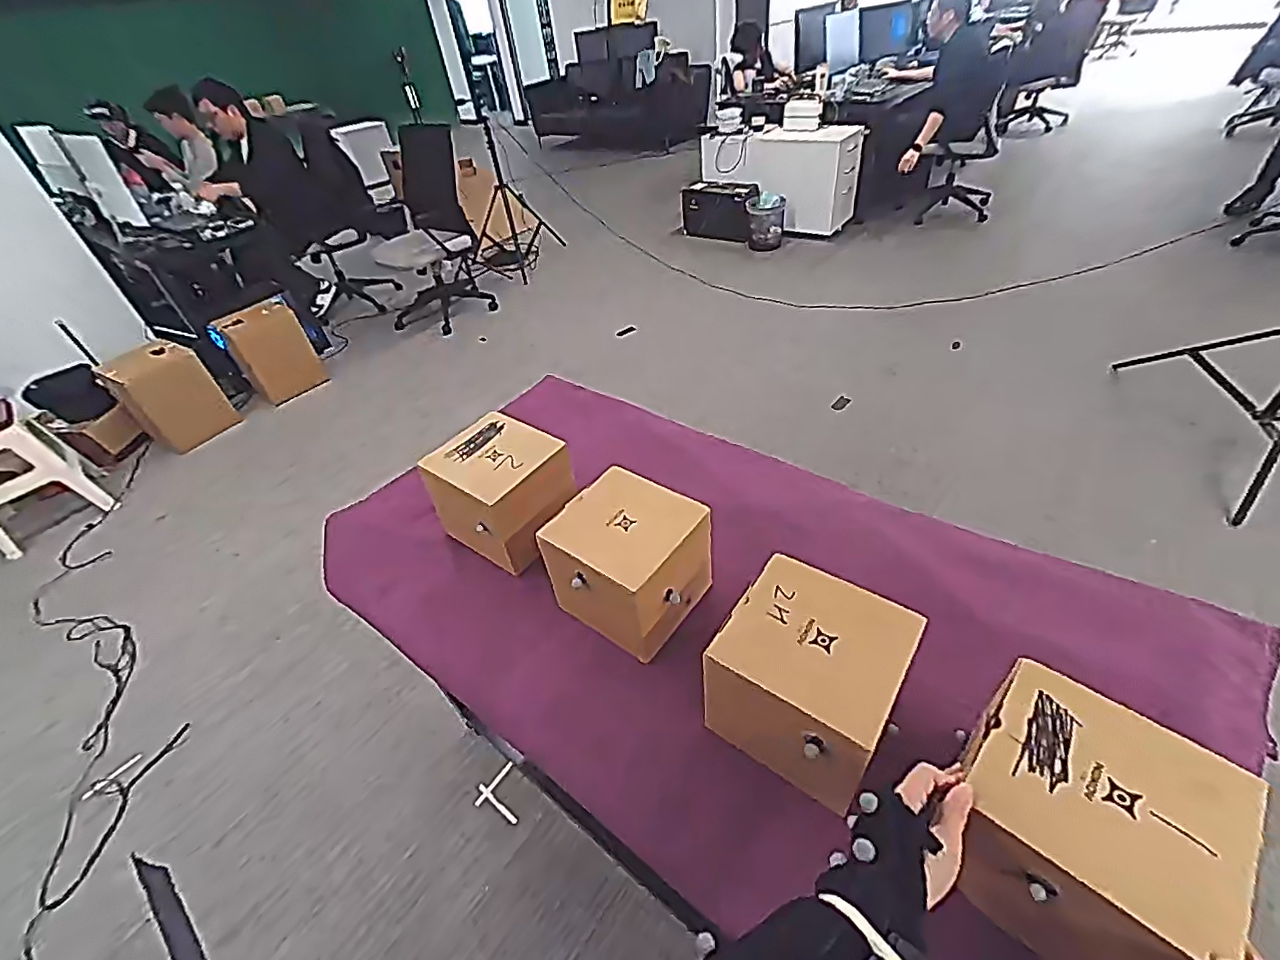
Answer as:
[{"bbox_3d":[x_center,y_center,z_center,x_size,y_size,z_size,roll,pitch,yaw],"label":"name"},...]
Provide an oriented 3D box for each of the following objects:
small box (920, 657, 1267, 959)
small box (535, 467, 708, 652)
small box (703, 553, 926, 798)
[{"bbox_3d":[0.381,0.305,0.483,0.179,0.176,0.168,29,54,34],"label":"small box"},{"bbox_3d":[-0.015,0.115,0.768,0.179,0.176,0.168,24,51,32],"label":"small box"},{"bbox_3d":[0.189,0.221,0.610,0.179,0.176,0.168,23,49,31],"label":"small box"}]
